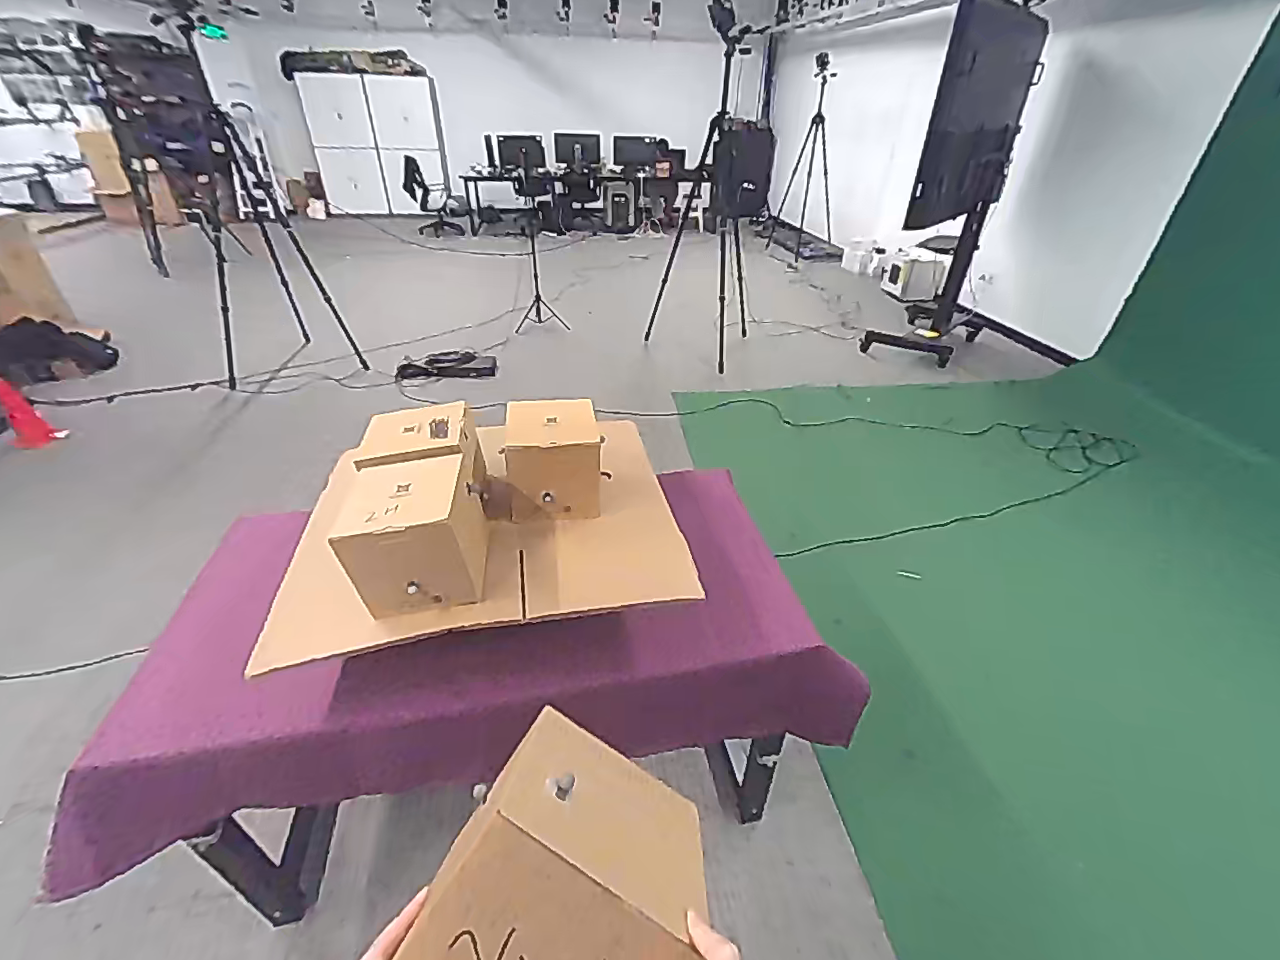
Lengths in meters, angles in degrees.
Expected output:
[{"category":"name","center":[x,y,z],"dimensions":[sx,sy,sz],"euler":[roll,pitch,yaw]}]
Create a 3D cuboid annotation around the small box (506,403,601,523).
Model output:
[{"category":"small box","center":[-0.168,-0.036,1.049],"dimensions":[0.168,0.176,0.179],"euler":[-3,36,-10]}]
